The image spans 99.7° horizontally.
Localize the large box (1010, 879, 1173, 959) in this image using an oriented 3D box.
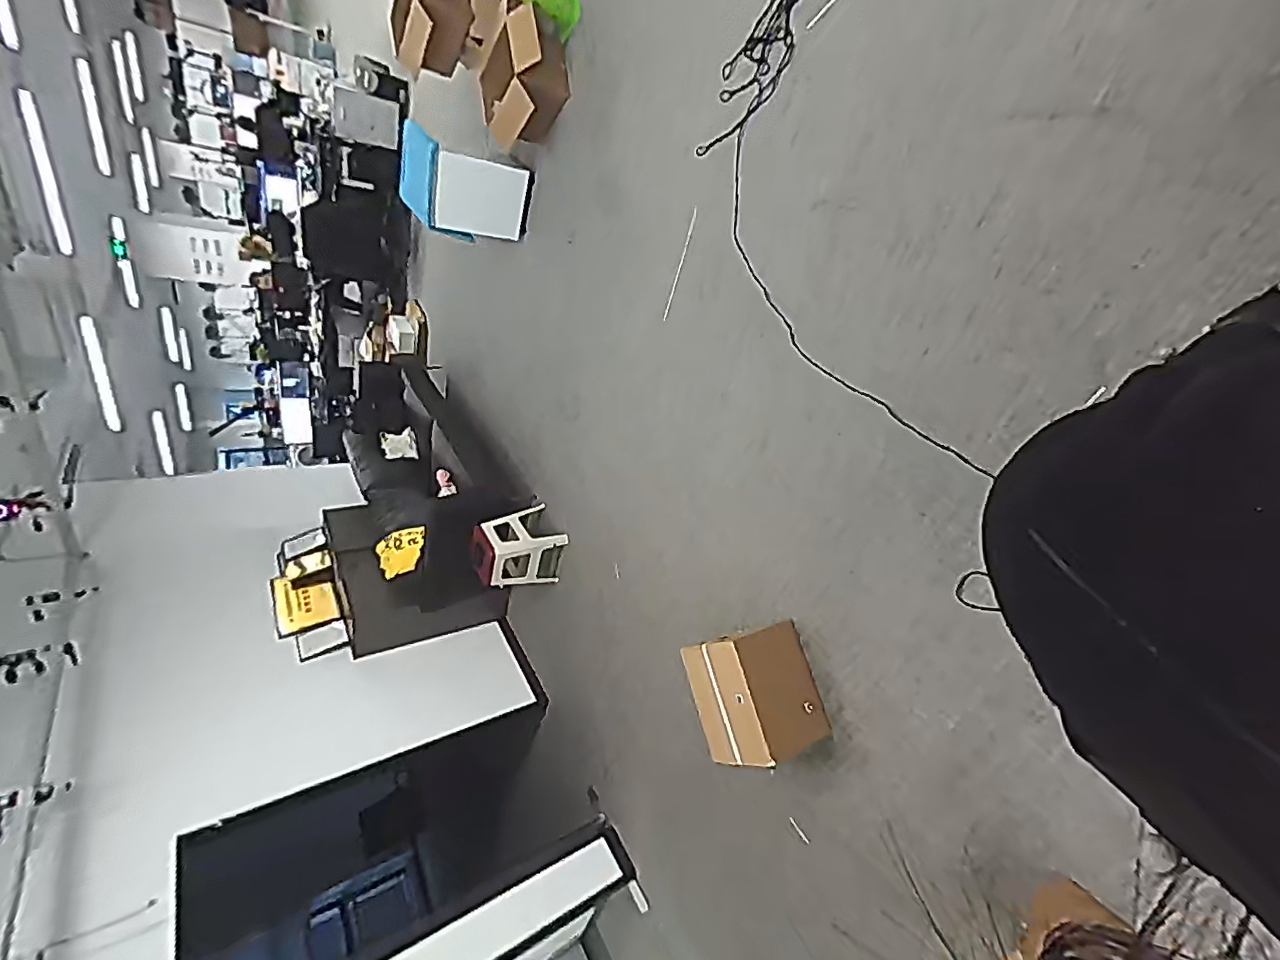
[{"bbox_3d":[1.034,1.210,1.166,0.408,0.320,0.320,31,121,46],"label":"large box"}]
